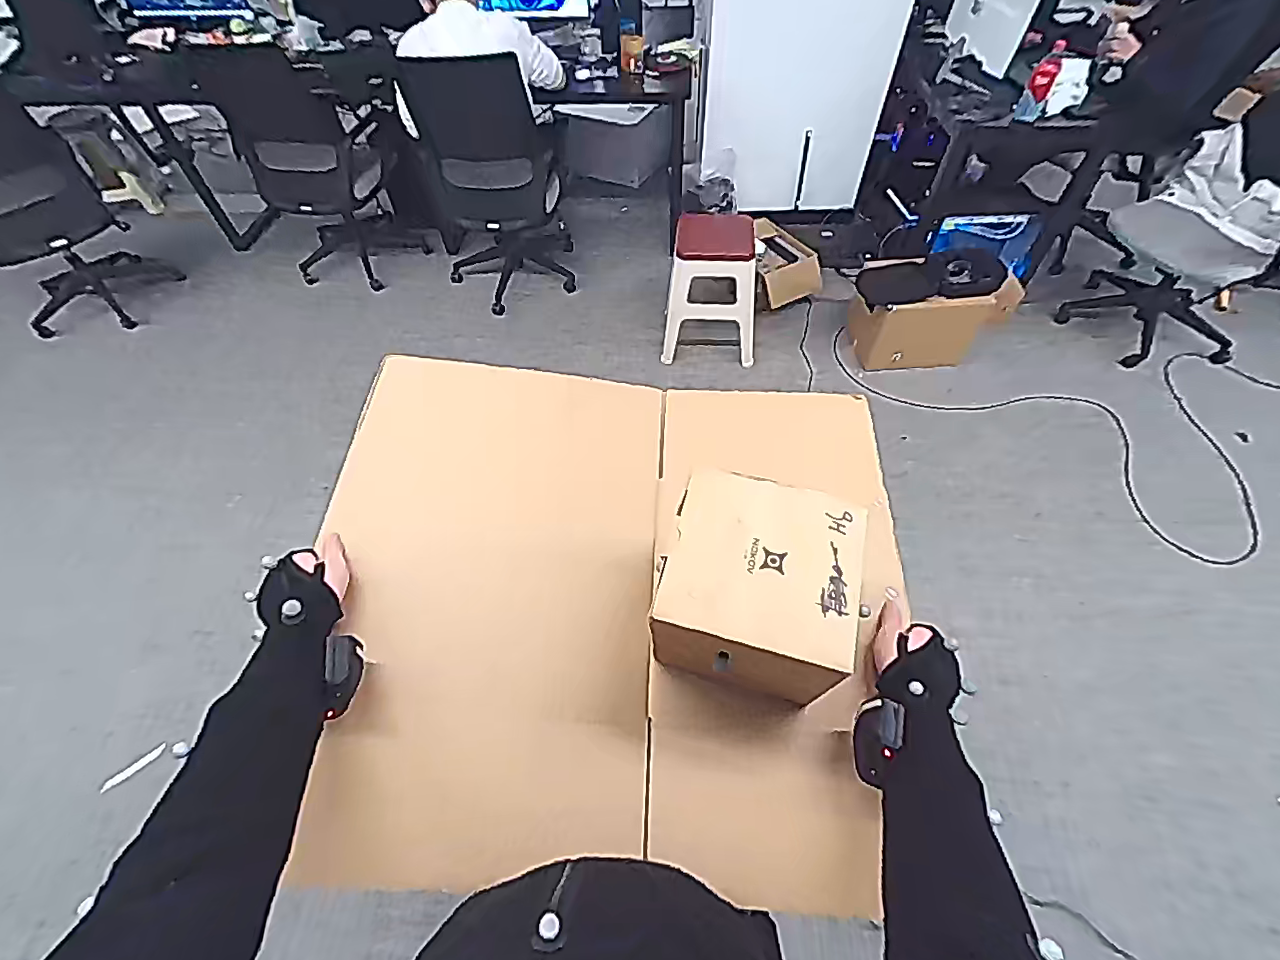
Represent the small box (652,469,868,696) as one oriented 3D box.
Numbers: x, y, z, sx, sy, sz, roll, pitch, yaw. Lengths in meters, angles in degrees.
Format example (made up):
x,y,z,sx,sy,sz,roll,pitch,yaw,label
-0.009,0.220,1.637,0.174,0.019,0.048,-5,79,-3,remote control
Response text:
x,y,z,sx,sy,sz,roll,pitch,yaw,label
0.121,0.114,0.573,0.179,0.176,0.168,13,61,12,small box
